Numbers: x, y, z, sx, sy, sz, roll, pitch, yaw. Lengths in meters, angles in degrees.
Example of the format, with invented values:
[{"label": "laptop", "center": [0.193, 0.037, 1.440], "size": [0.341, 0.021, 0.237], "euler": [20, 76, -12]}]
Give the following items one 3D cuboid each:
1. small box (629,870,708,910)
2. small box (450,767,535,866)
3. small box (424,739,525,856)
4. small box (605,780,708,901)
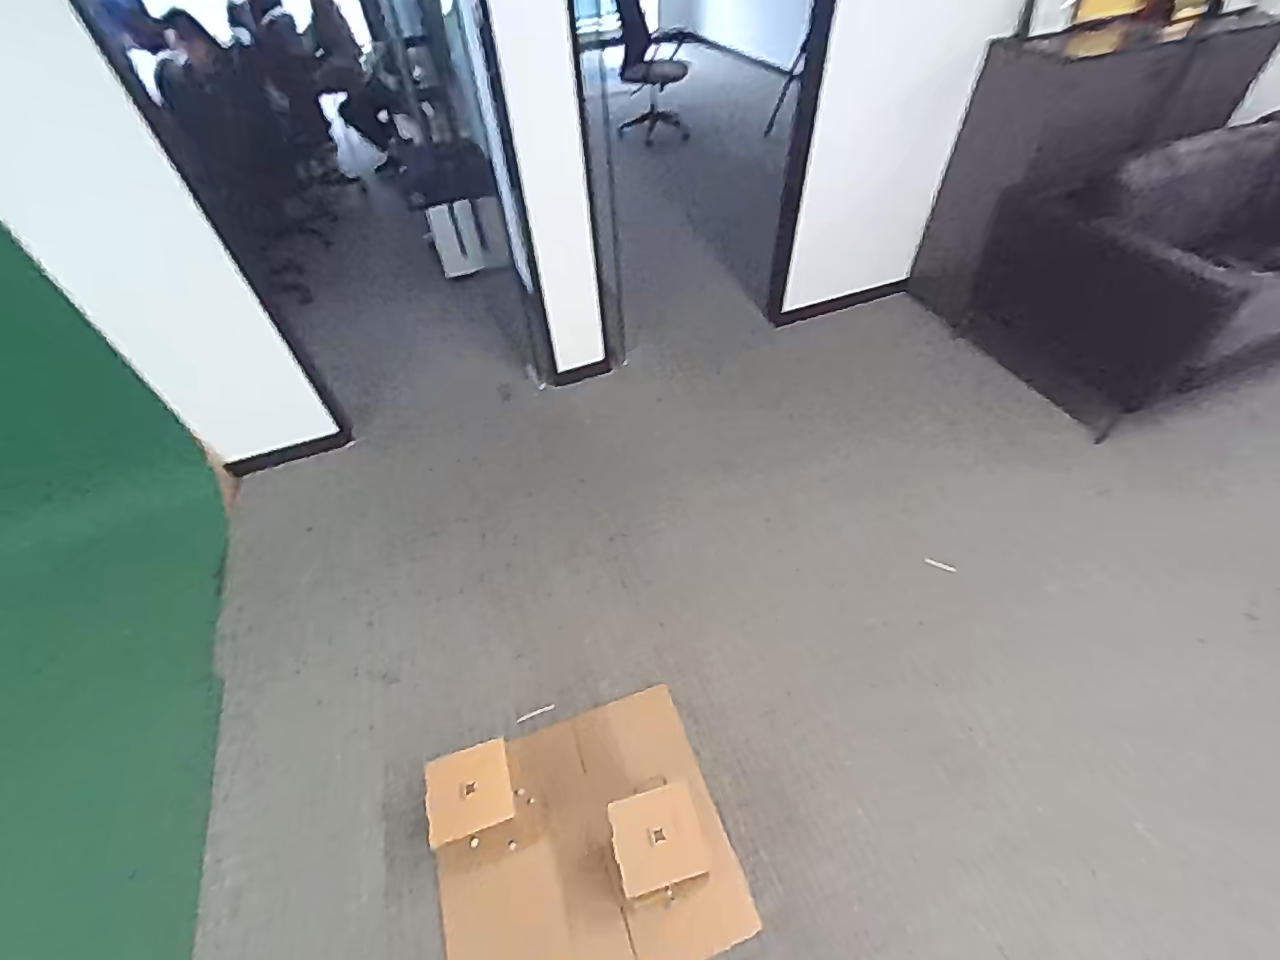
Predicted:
[{"label": "small box", "center": [0.043, 0.872, 1.260], "size": [0.179, 0.176, 0.168], "euler": [-15, 49, -10]}, {"label": "small box", "center": [-0.362, 0.816, 1.325], "size": [0.179, 0.176, 0.168], "euler": [-16, 49, -11]}, {"label": "small box", "center": [-0.362, 0.708, 1.205], "size": [0.179, 0.176, 0.168], "euler": [-16, 51, -10]}, {"label": "small box", "center": [0.035, 0.762, 1.139], "size": [0.179, 0.176, 0.168], "euler": [-13, 50, -8]}]
